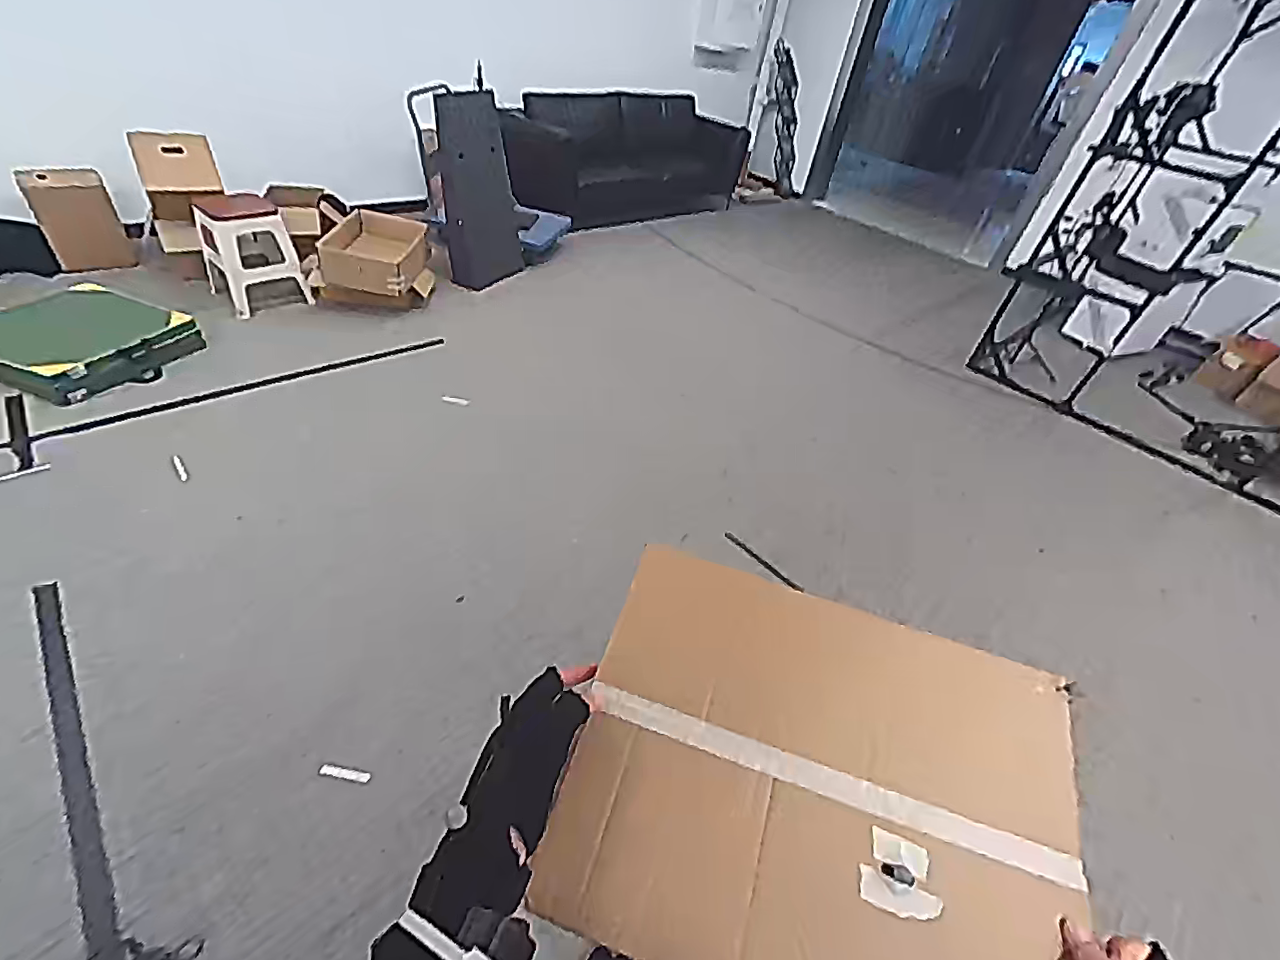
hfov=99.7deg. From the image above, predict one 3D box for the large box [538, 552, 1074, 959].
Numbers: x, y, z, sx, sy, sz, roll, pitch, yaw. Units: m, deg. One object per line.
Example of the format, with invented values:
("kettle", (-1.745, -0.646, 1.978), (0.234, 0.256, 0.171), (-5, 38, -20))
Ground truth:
("large box", (0.147, 0.330, 0.587), (0.408, 0.320, 0.320), (18, 59, 9))
